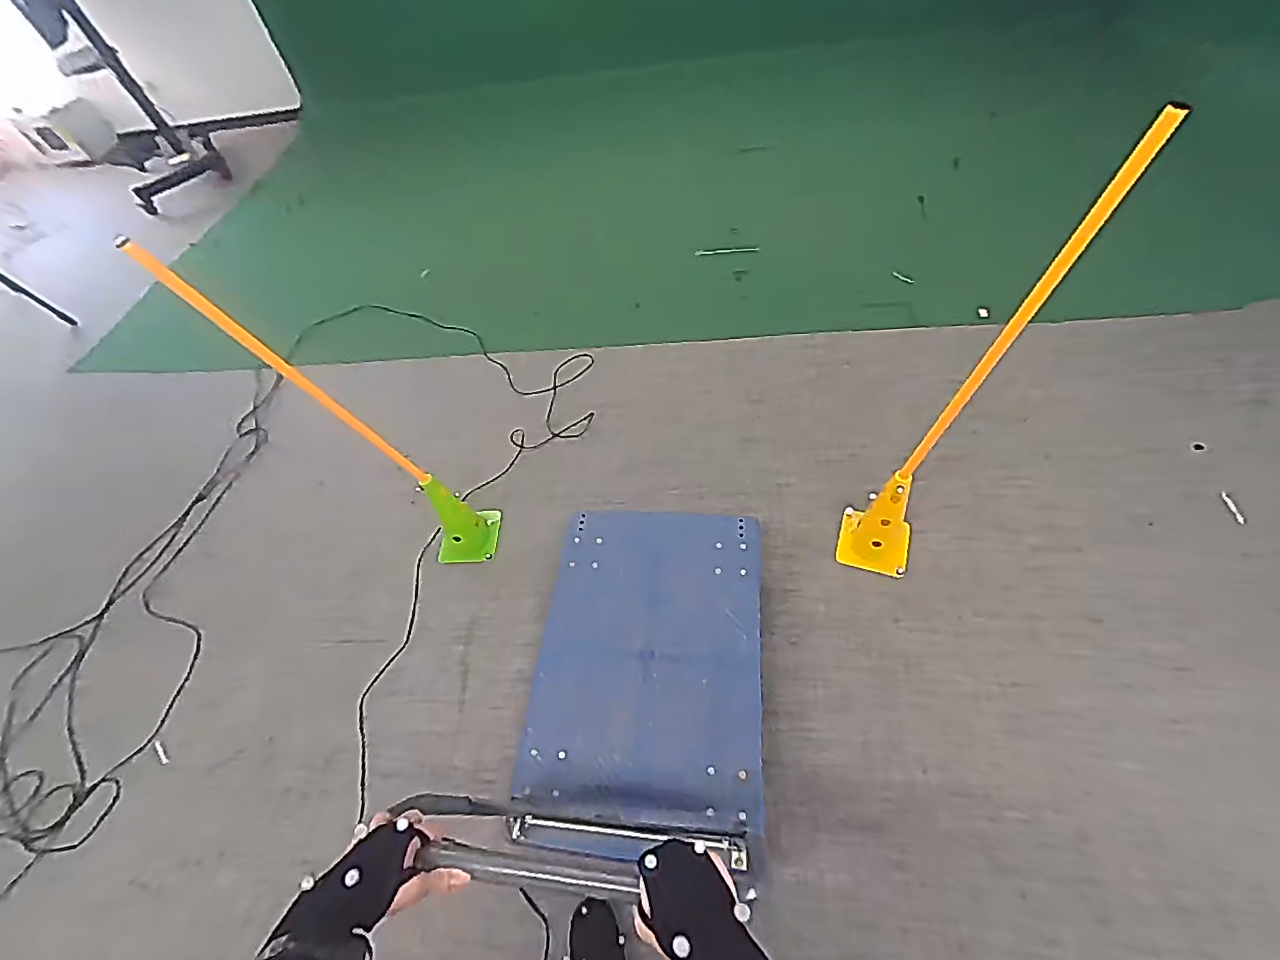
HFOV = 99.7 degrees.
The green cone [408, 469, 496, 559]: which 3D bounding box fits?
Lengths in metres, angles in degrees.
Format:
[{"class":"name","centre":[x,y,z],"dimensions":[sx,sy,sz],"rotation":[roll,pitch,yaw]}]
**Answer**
[{"class":"green cone","centre":[-0.629,0.080,1.729],"dimensions":[0.202,0.368,0.200],"rotation":[-5,54,7]}]
